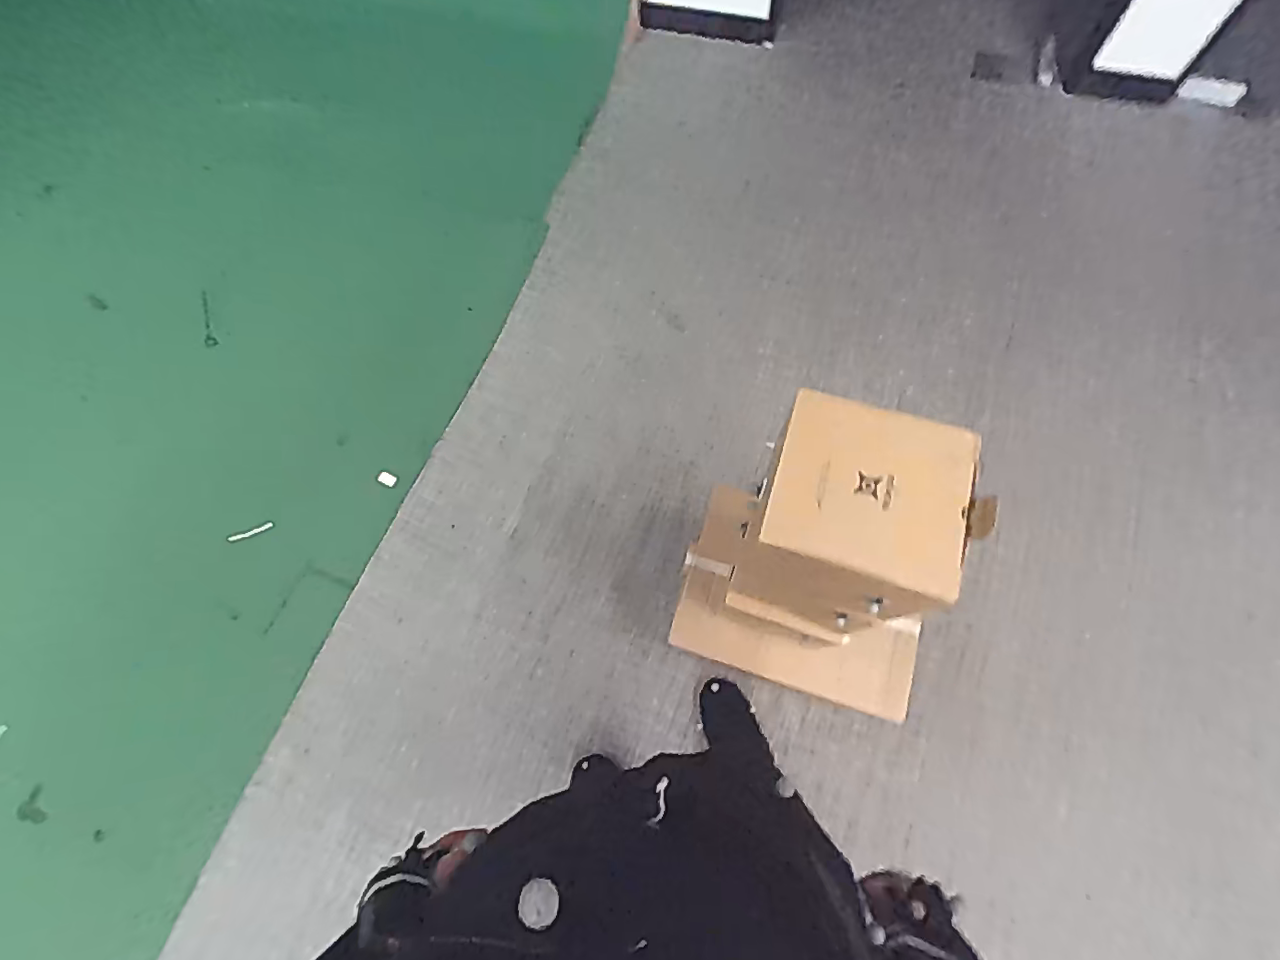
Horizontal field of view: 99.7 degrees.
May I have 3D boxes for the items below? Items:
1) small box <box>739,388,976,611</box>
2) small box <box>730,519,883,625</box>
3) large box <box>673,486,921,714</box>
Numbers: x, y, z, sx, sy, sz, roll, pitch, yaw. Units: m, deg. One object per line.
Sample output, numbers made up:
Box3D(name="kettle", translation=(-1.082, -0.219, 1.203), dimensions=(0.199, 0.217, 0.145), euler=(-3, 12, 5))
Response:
Box3D(name="small box", translation=(0.215, 0.032, 0.572), dimensions=(0.179, 0.176, 0.168), euler=(16, 71, 10))
Box3D(name="small box", translation=(0.230, 0.085, 0.725), dimensions=(0.179, 0.176, 0.168), euler=(20, 73, 10))
Box3D(name="large box", translation=(0.295, 0.245, 1.096), dimensions=(0.408, 0.320, 0.320), euler=(16, 73, 9))
